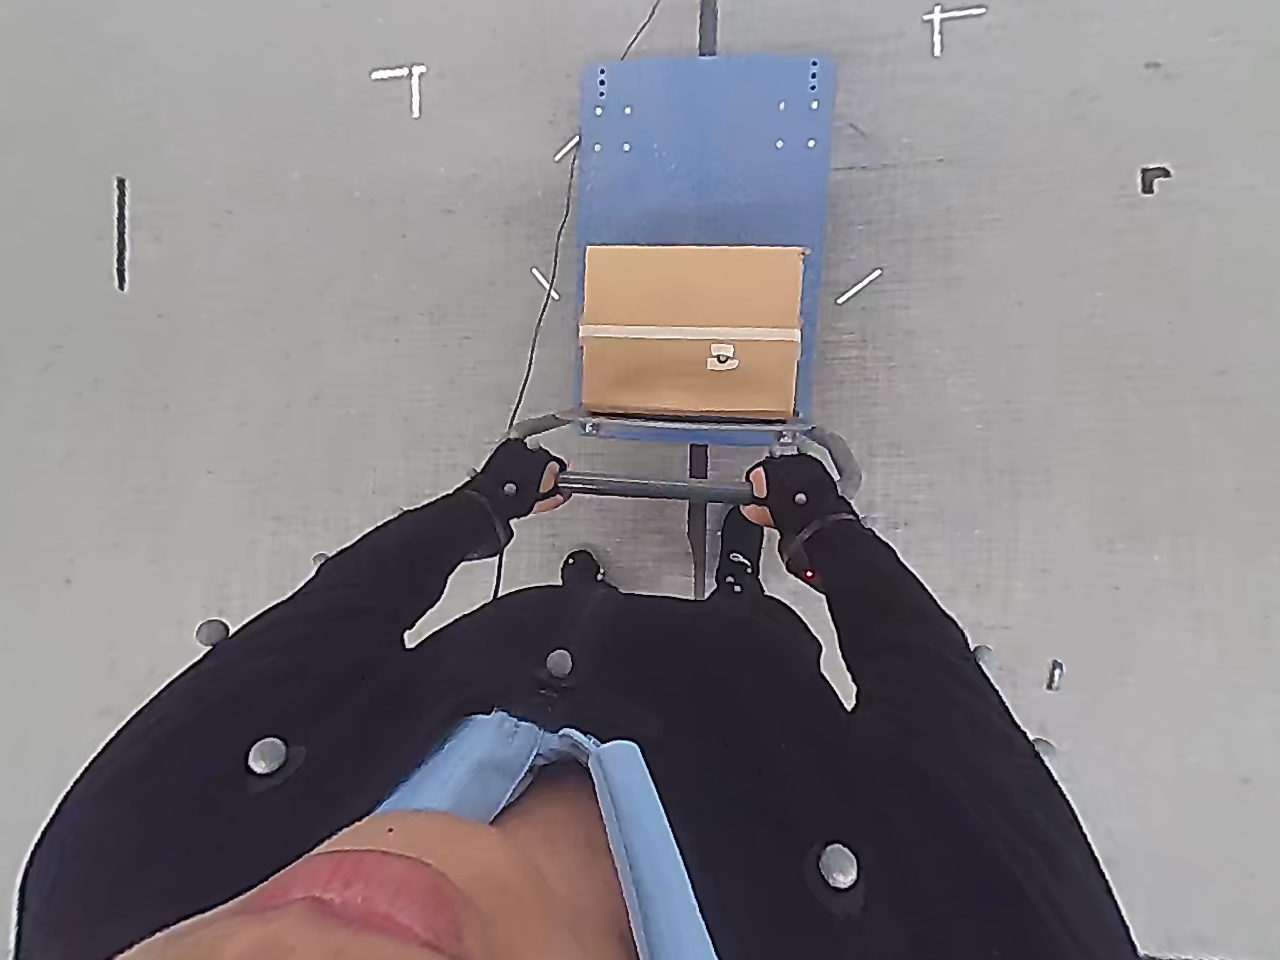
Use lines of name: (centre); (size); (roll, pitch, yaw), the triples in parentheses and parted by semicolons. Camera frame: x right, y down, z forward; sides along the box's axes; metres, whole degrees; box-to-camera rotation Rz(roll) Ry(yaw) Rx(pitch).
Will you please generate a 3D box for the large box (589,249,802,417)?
large box: (0.113, -0.296, 1.177); (0.408, 0.320, 0.320); (3, 98, 6)
